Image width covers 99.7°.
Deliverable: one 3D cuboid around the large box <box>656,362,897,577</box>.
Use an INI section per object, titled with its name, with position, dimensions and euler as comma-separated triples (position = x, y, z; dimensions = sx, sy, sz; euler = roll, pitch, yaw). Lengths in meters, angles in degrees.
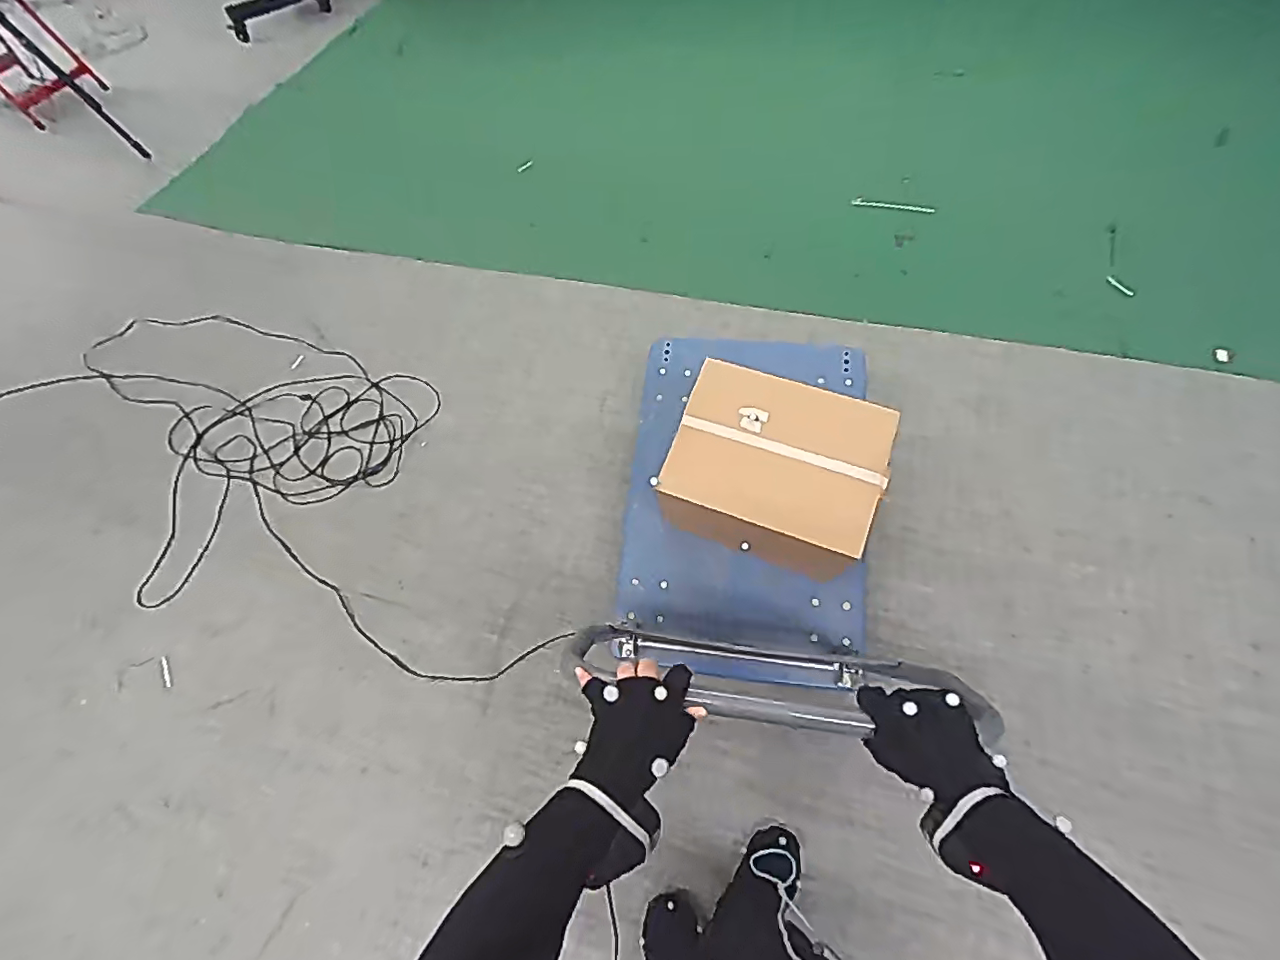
[large box]
position = 0.287, -0.009, 1.200
dimensions = 0.408, 0.320, 0.320
euler = 19, 75, 13
